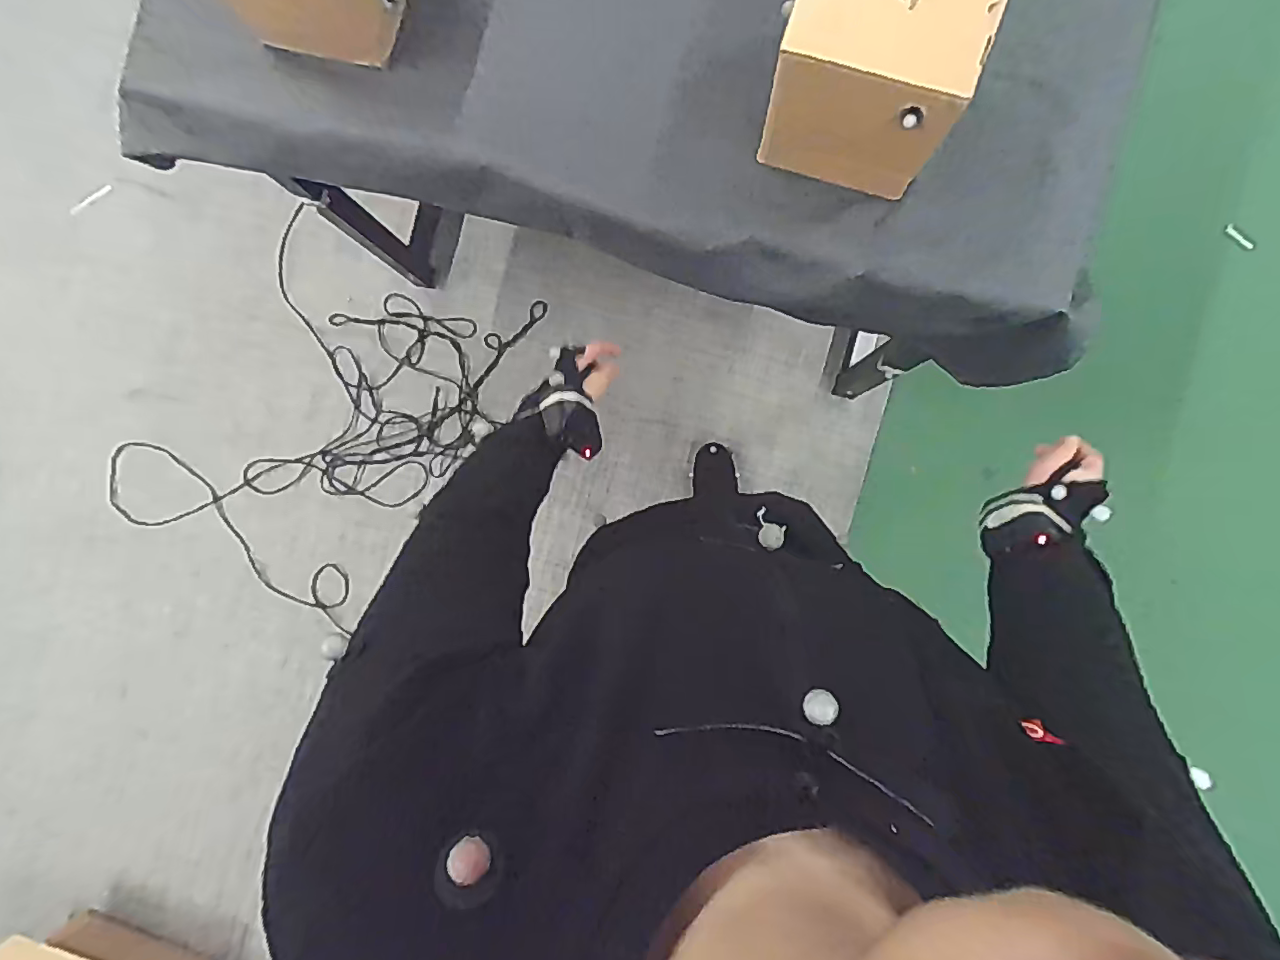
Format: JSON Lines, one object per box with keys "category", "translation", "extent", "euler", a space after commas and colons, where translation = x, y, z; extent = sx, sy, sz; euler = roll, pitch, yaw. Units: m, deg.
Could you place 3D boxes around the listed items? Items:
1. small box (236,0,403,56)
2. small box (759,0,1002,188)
{"category": "small box", "translation": [-0.380, -0.617, 0.594], "extent": [0.179, 0.176, 0.168], "euler": [15, 92, 3]}
{"category": "small box", "translation": [0.234, -0.434, 0.552], "extent": [0.179, 0.176, 0.168], "euler": [18, 91, 4]}
